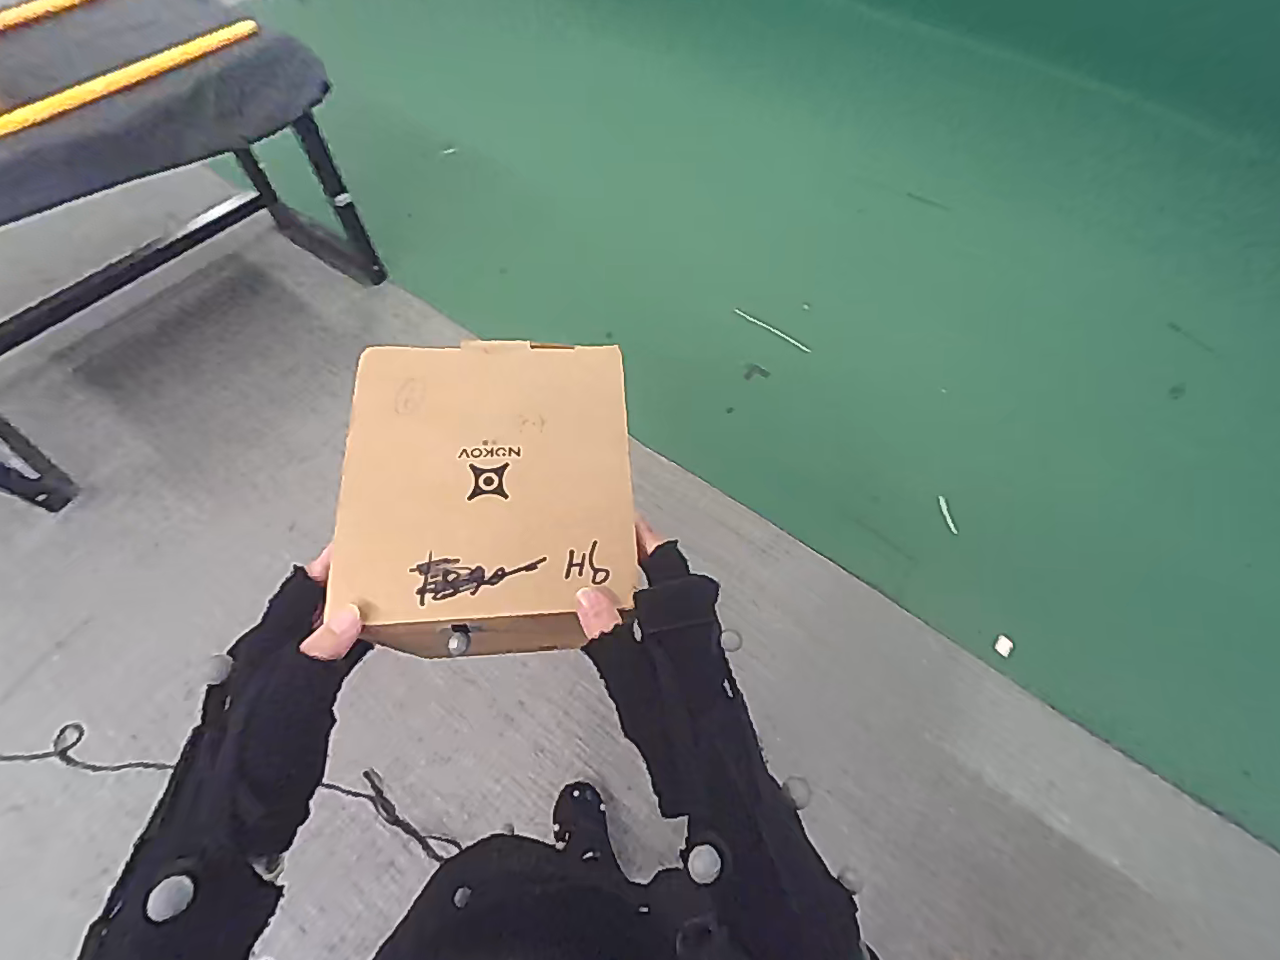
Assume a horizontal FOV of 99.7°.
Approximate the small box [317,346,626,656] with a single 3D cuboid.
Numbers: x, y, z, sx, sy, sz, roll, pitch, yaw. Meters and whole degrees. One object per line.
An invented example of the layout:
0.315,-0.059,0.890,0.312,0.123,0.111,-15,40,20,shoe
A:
-0.101,0.023,0.397,0.168,0.176,0.179,-3,66,-5,small box
